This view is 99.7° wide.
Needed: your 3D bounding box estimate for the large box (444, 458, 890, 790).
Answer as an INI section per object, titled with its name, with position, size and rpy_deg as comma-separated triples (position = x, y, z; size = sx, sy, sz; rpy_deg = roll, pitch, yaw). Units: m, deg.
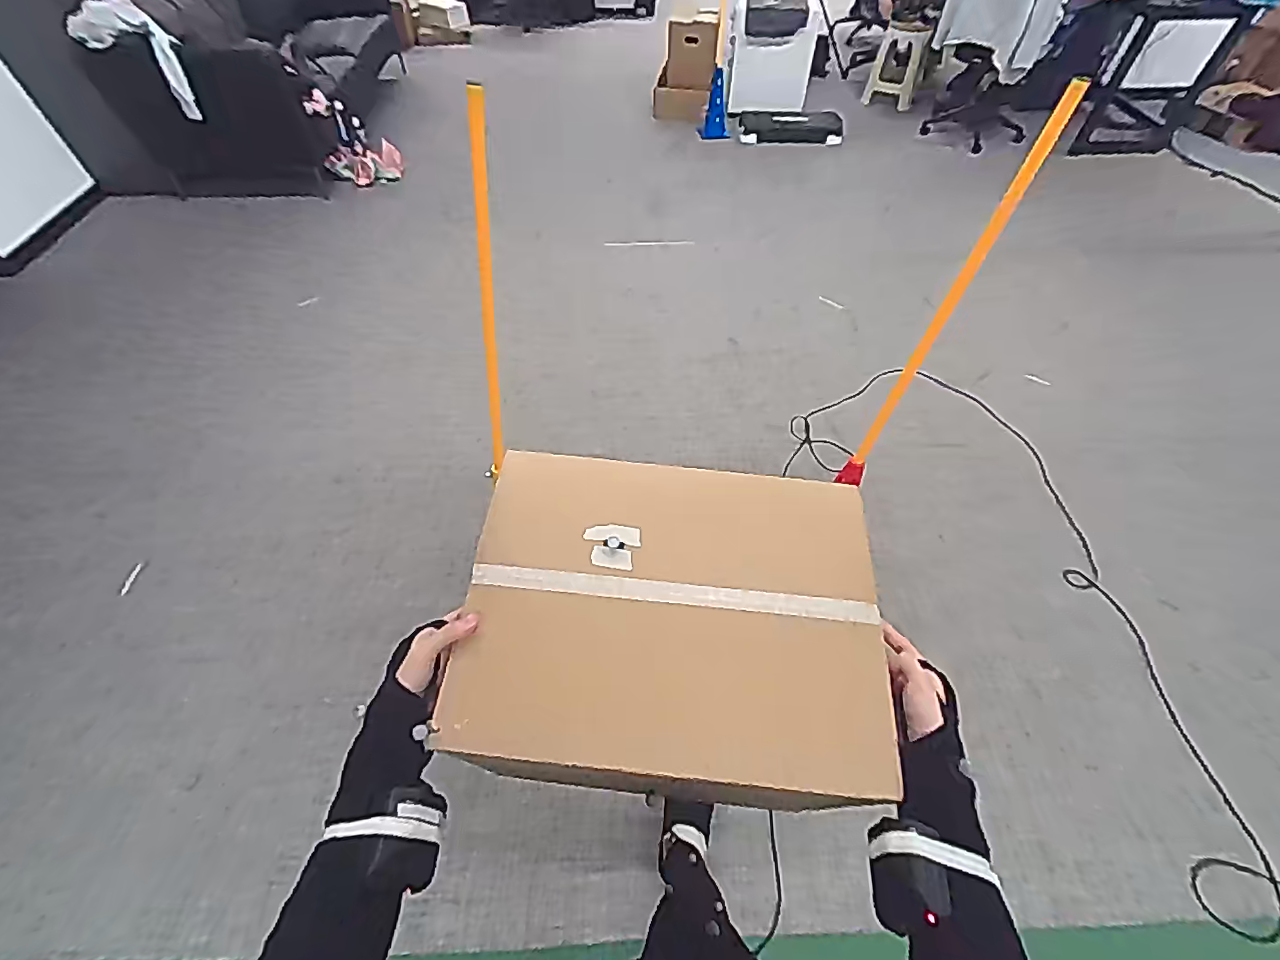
[large box]
position = 0.033, 0.196, 0.680
size = 0.408, 0.320, 0.320
rpy_deg = 5, 57, 2
